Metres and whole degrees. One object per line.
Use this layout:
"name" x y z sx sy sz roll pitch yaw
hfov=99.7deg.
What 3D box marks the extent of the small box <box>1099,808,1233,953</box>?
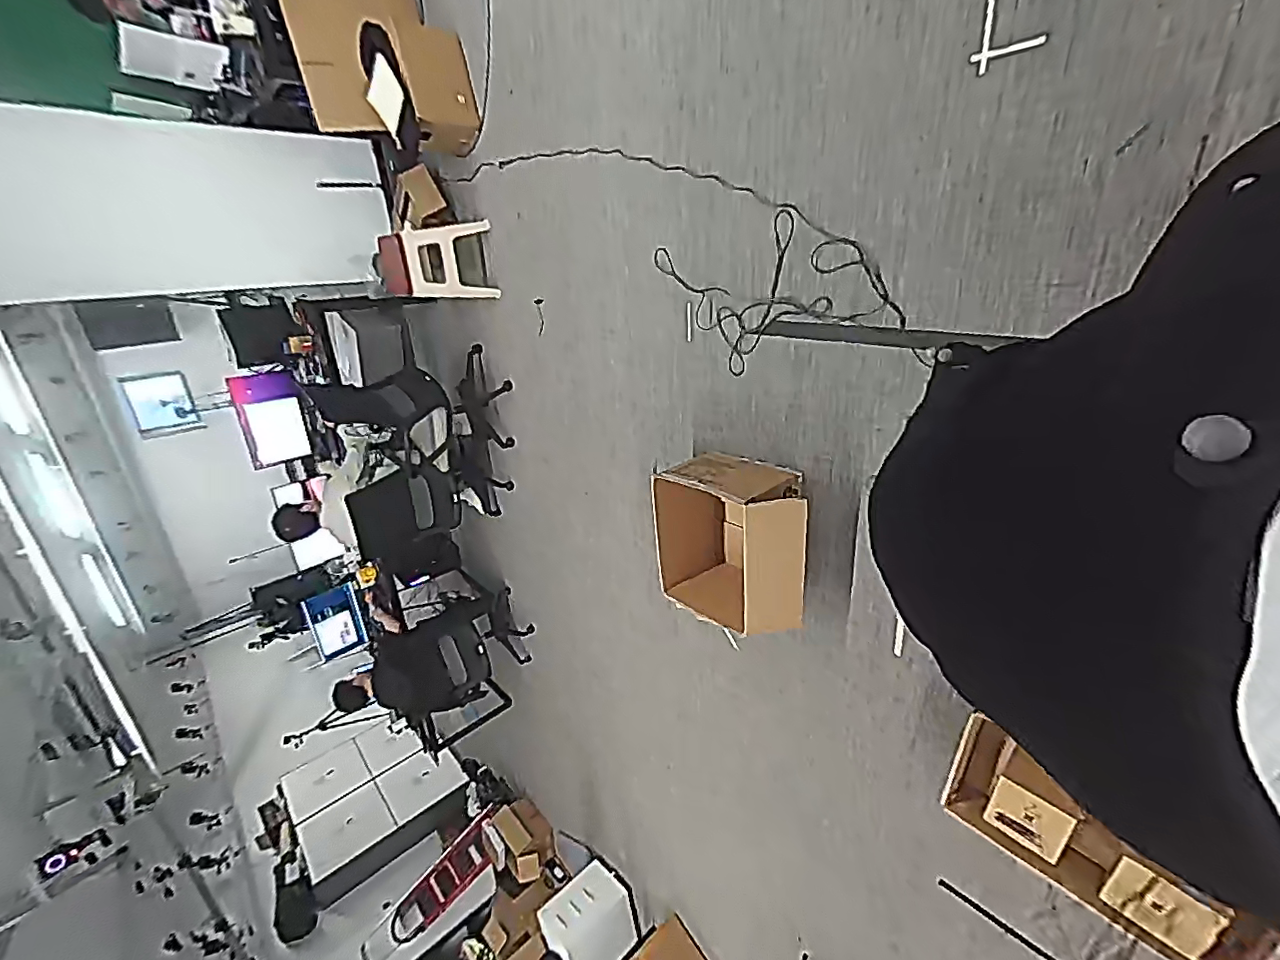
"small box" 1.225 0.921 1.259 0.179 0.176 0.168 27 125 43
